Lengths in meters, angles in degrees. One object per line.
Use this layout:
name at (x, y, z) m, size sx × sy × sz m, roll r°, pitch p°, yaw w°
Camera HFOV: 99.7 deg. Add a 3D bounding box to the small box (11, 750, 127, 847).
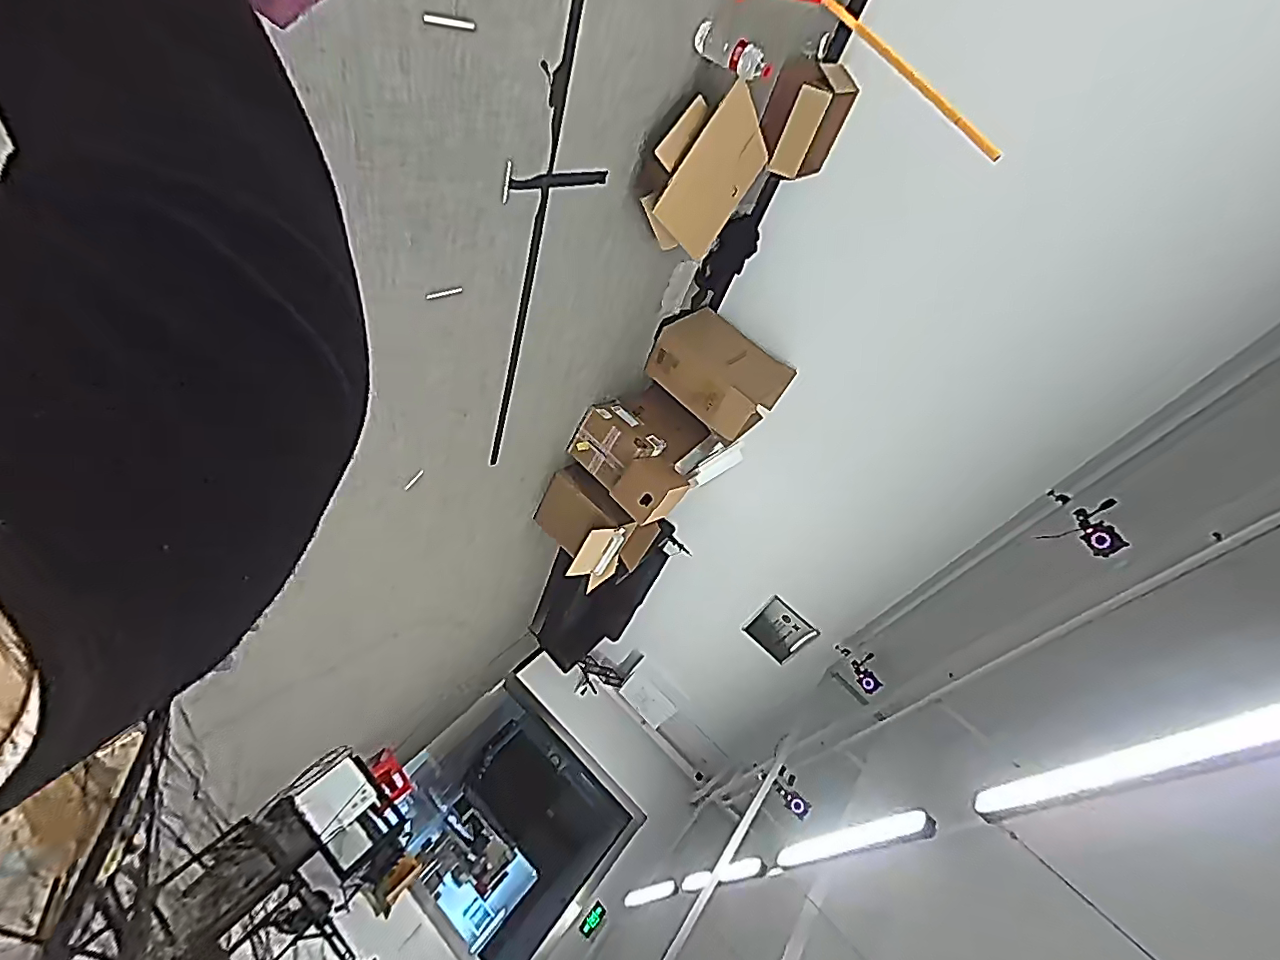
small box at (-1.741, 0.968, 1.653) m, size 0.179 × 0.176 × 0.168 m, roll -35°, pitch 158°, yaw -41°
